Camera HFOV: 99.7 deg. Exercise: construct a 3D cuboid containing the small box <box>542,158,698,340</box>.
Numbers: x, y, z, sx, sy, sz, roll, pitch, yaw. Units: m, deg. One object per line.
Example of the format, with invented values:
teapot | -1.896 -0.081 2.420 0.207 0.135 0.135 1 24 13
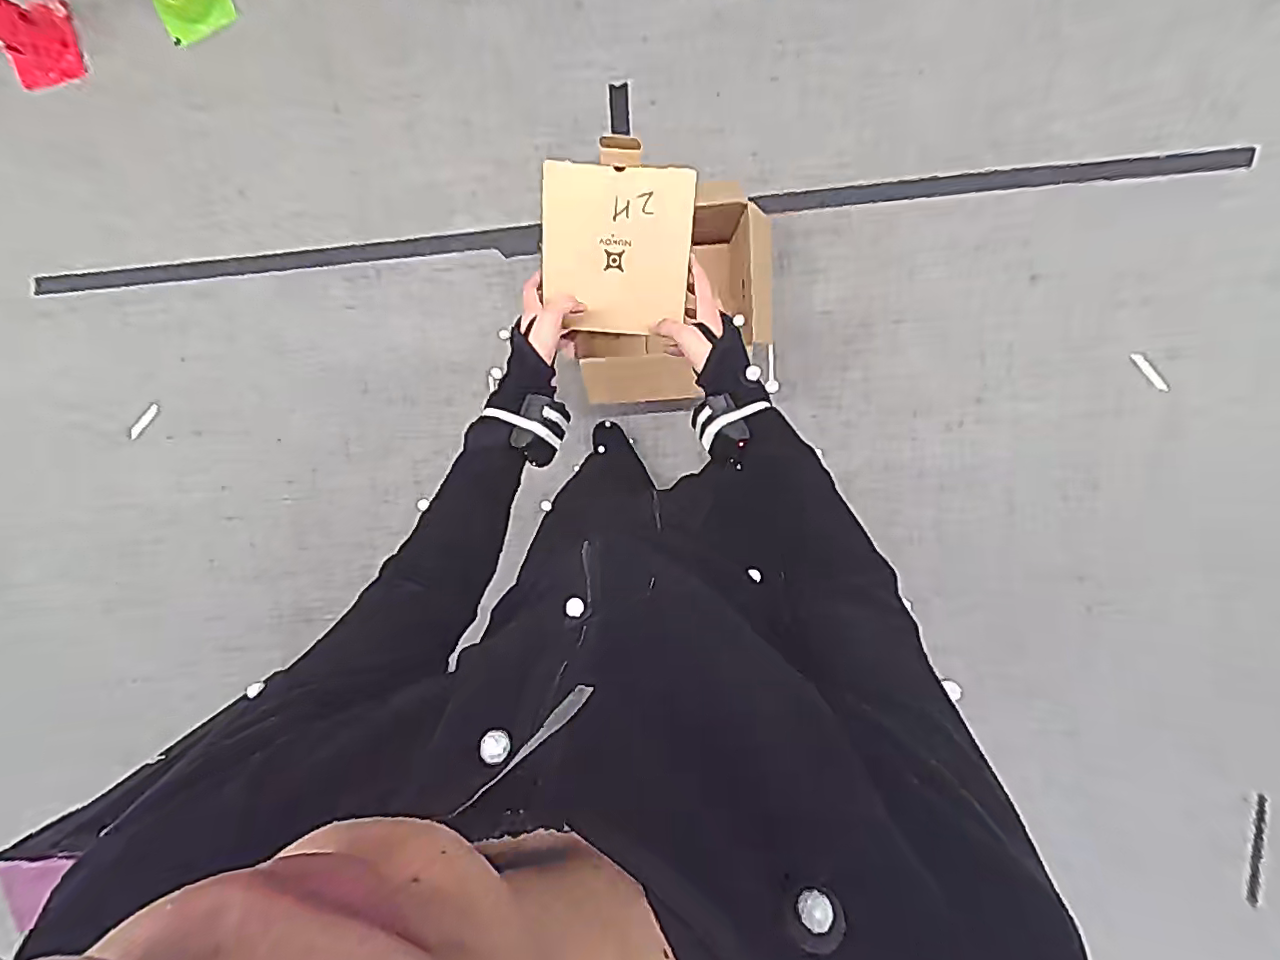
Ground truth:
small box | -0.019 -0.274 0.666 0.168 0.176 0.179 5 108 3
